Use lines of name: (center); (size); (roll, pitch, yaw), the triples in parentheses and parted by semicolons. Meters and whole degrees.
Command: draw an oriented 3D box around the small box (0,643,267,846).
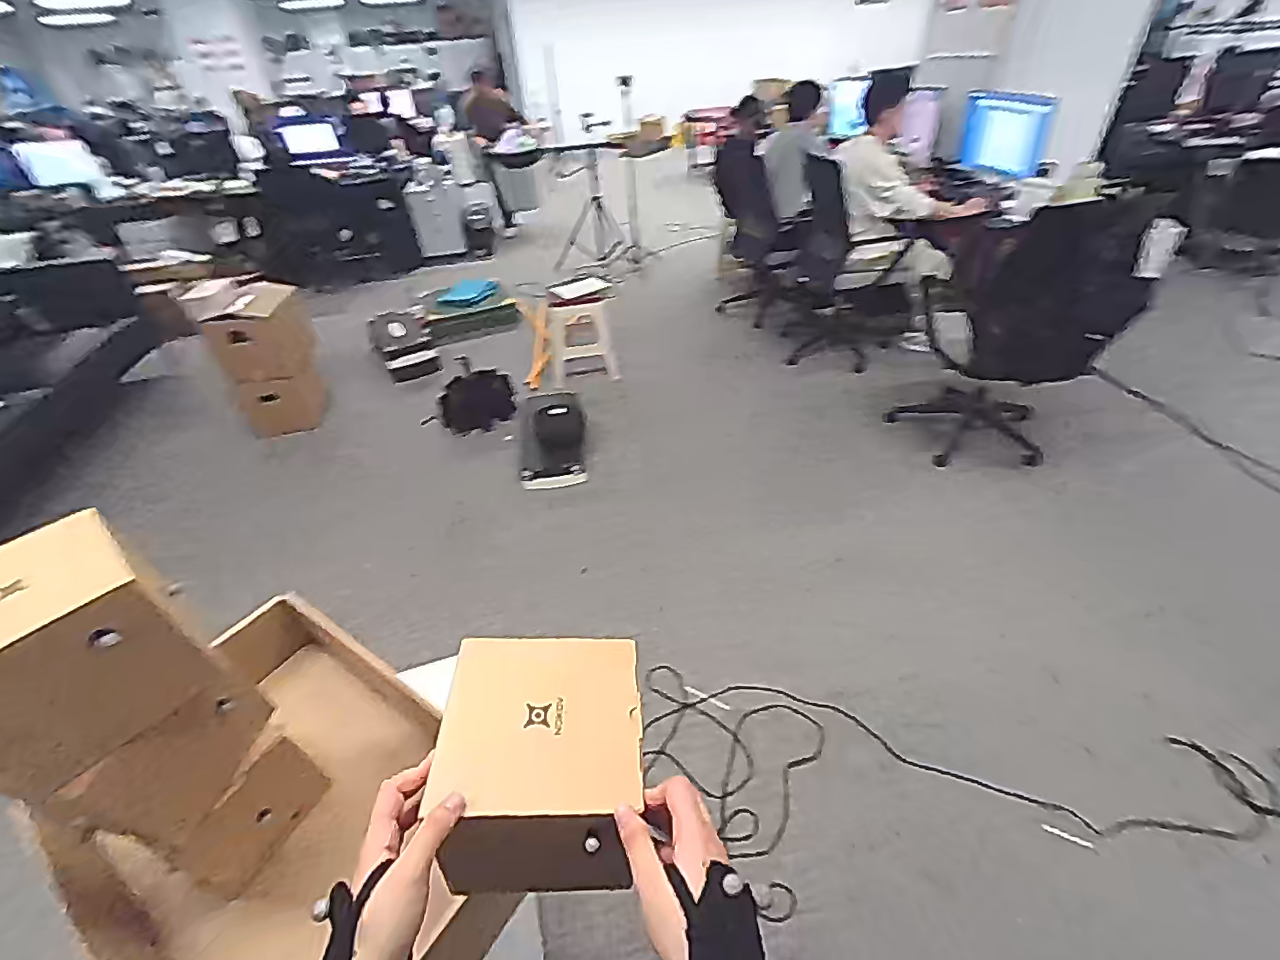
small box: (-0.604, 0.311, 0.660); (0.168, 0.176, 0.179); (3, 42, 10)

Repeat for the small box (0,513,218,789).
small box: (-0.591, 0.173, 0.567); (0.168, 0.176, 0.179); (26, 49, 32)
